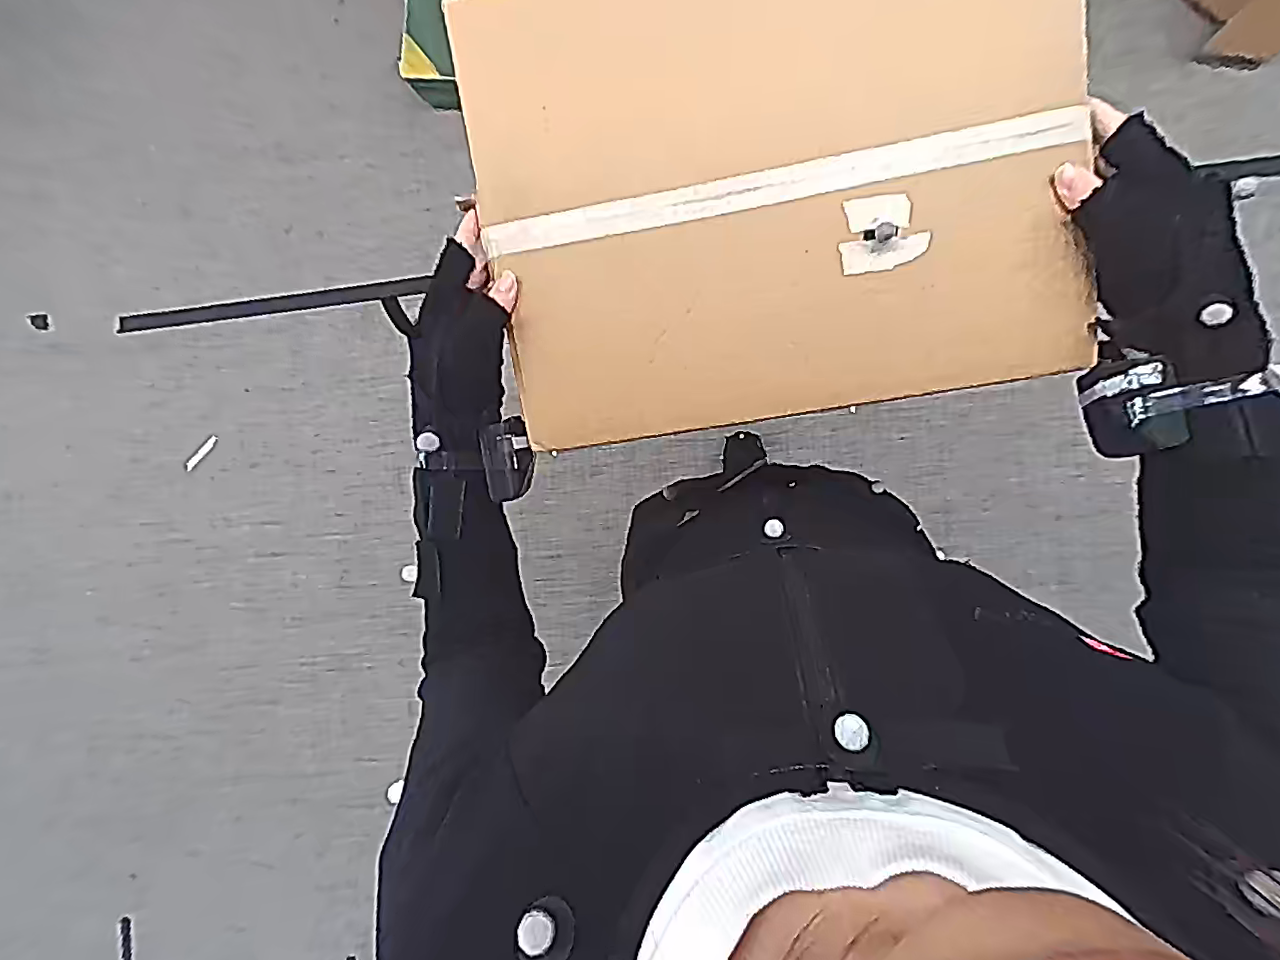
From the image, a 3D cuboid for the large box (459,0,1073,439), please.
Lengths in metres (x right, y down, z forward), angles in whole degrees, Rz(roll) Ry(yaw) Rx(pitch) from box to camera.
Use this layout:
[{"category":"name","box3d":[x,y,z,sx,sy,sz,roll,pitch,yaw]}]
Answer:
[{"category":"large box","box3d":[0.099,-0.236,0.529,0.408,0.320,0.320,-9,100,5]}]
